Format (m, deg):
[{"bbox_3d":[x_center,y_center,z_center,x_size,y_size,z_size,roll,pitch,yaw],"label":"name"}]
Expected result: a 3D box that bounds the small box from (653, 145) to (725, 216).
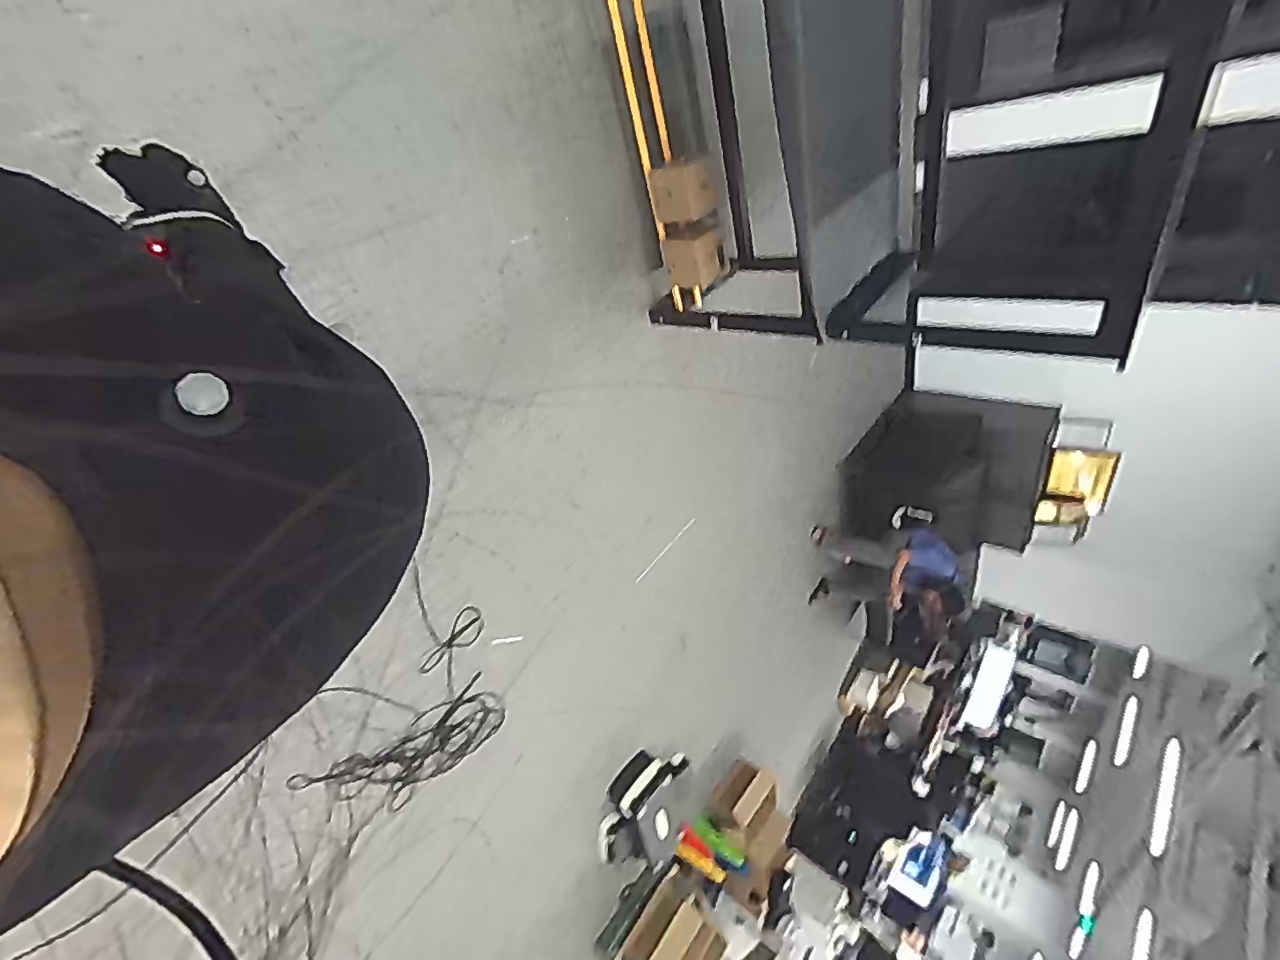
[{"bbox_3d":[0.162,-1.020,1.851,0.179,0.176,0.168,-43,133,-29],"label":"small box"}]
